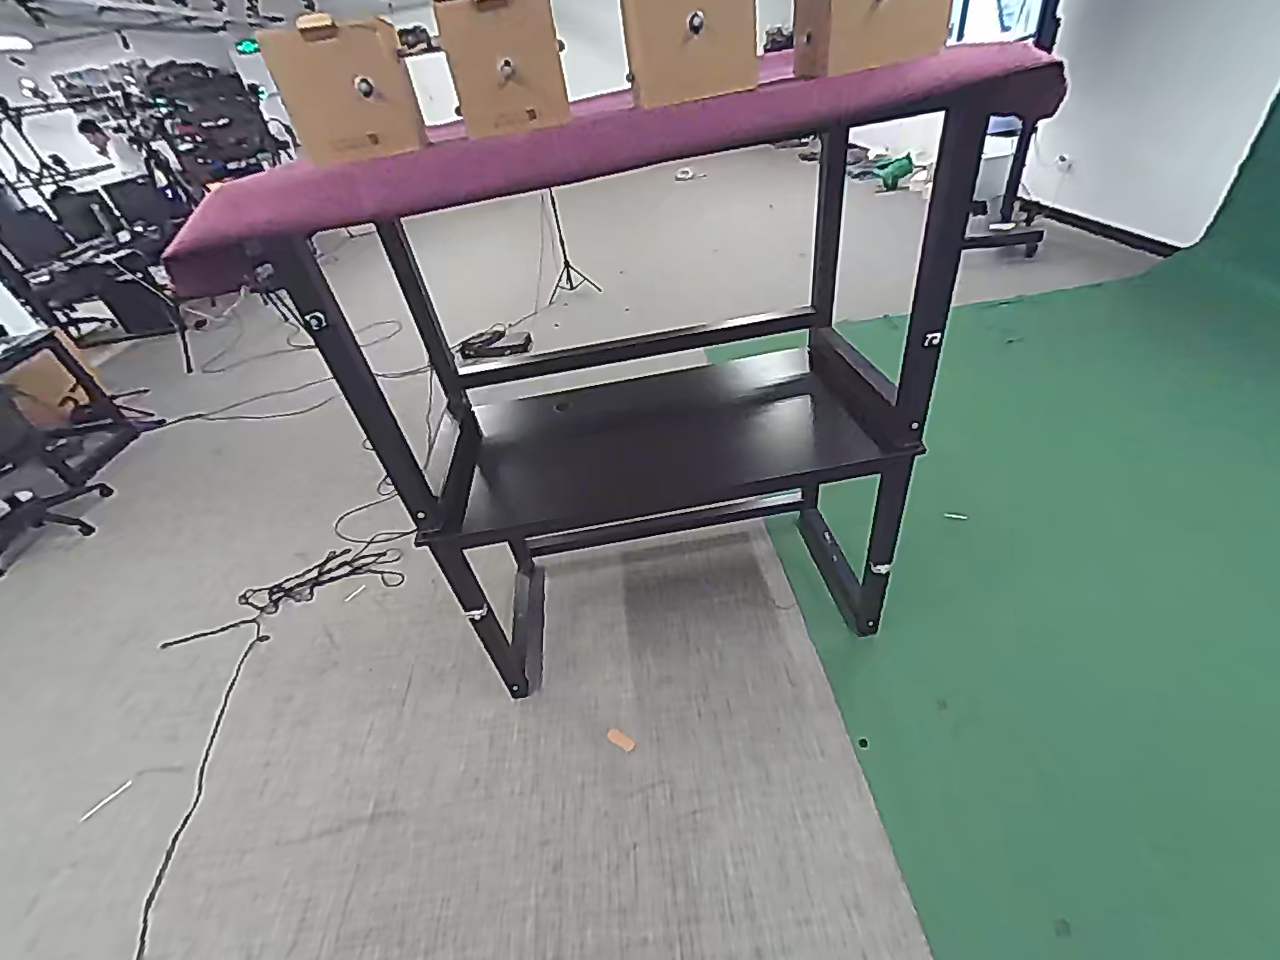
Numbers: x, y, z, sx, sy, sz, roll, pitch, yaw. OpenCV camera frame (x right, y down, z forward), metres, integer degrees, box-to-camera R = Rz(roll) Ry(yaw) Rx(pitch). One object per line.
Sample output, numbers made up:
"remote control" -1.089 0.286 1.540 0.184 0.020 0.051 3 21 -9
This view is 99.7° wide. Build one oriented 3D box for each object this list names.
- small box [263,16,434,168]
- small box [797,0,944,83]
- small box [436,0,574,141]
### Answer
"small box" -0.441 -0.605 0.856 0.168 0.176 0.179 -12 37 -5
"small box" 0.351 -0.735 0.834 0.179 0.176 0.168 -11 38 2
"small box" -0.206 -0.654 0.863 0.168 0.176 0.179 -12 37 -3
